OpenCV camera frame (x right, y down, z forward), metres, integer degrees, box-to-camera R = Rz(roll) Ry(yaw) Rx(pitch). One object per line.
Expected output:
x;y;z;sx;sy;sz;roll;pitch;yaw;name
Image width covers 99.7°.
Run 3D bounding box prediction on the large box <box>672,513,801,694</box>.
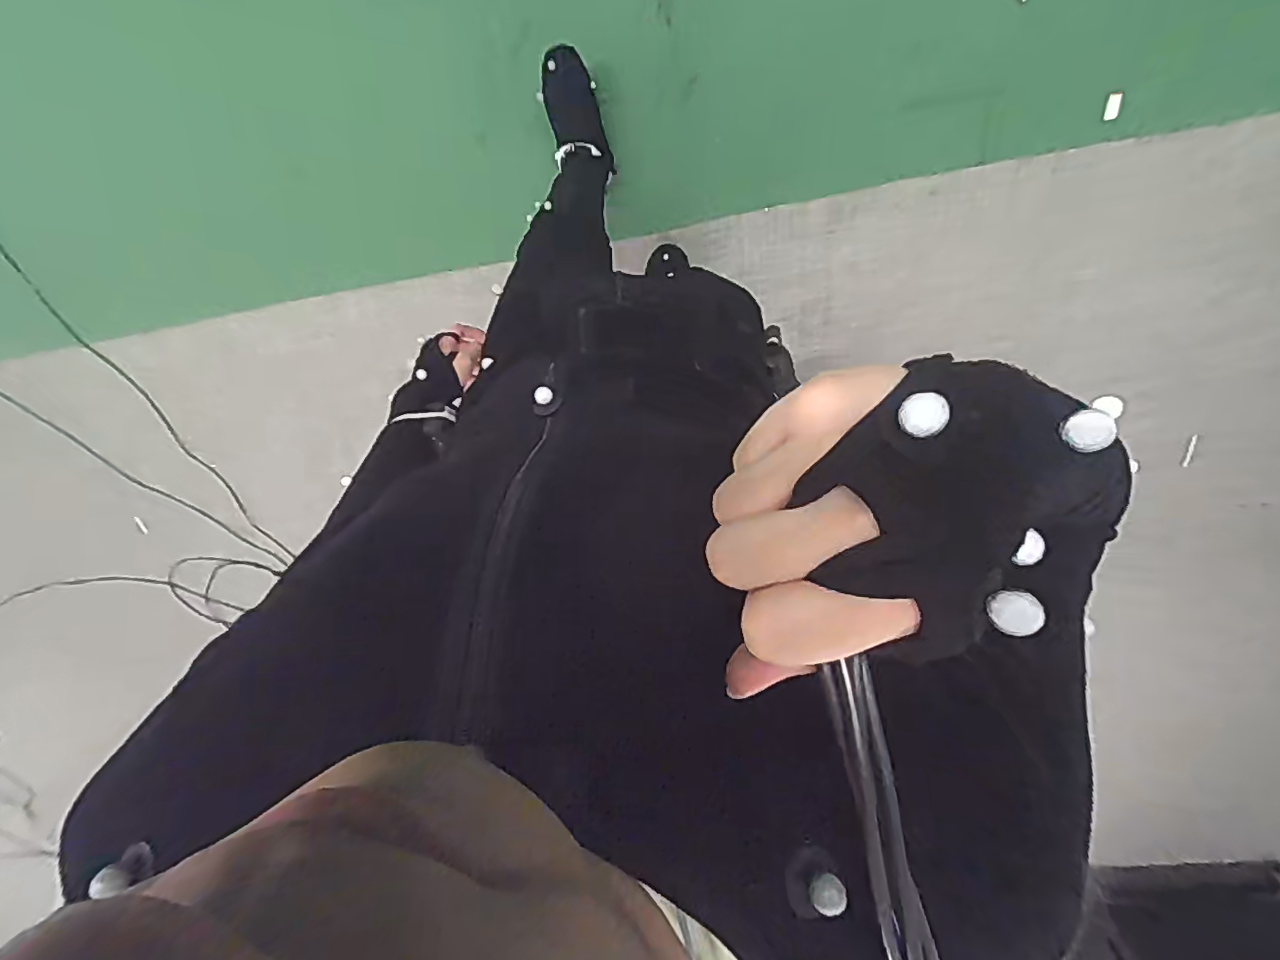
0.276;0.355;1.576;0.320;0.320;0.408;-6;120;6;large box
